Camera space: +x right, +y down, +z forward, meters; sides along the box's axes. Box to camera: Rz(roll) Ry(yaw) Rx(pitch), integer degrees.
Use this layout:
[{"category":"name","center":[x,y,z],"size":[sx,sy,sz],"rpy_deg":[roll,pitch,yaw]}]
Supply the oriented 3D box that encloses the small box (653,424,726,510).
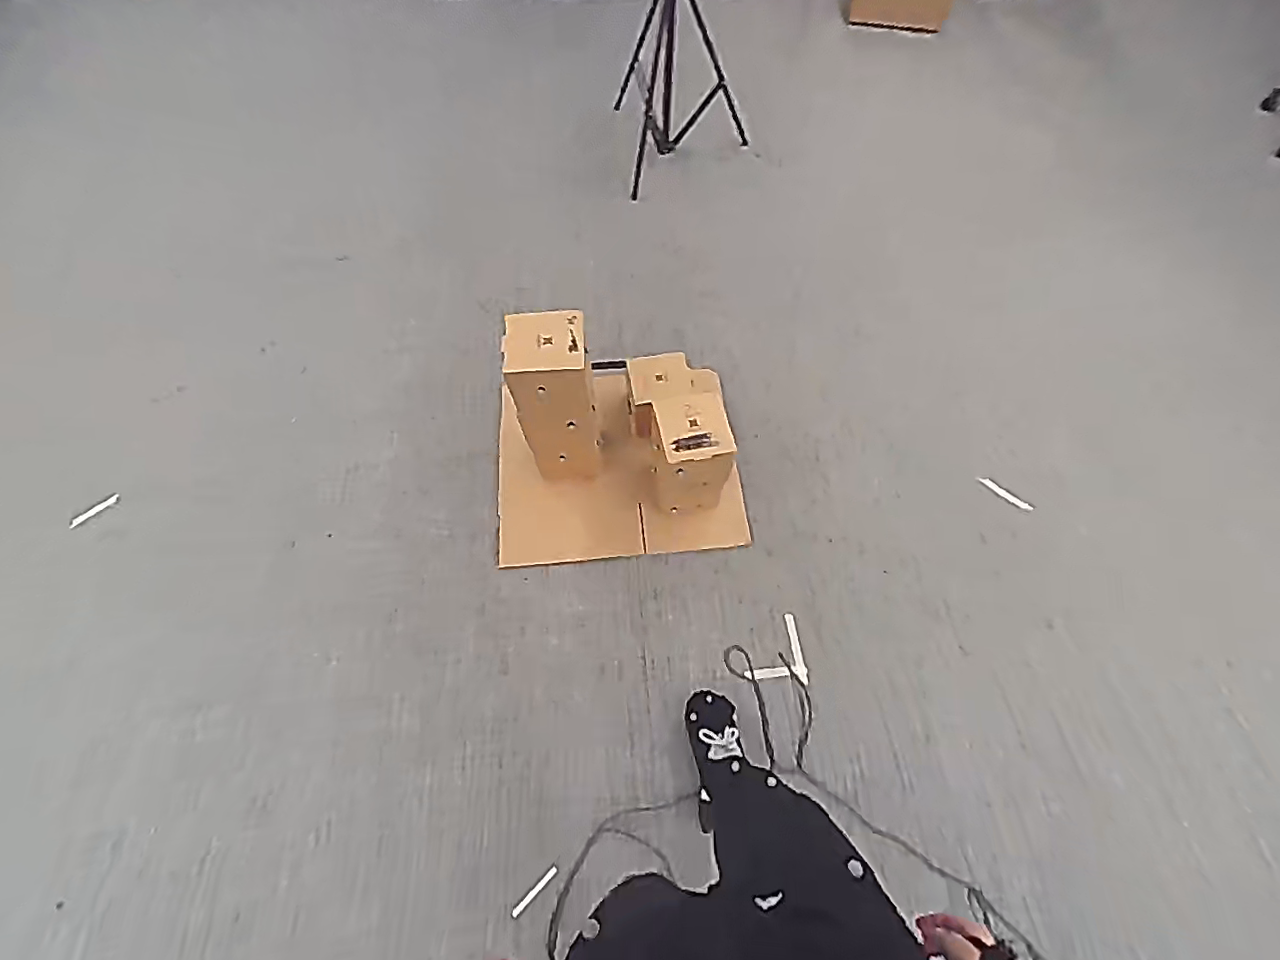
[{"category":"small box","center":[0.131,-0.028,1.488],"size":[0.168,0.176,0.179],"rpy_deg":[-8,64,-4]}]

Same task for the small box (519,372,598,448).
[{"category":"small box","center":[-0.201,-0.192,1.385],"size":[0.179,0.176,0.168],"rpy_deg":[-1,64,1]}]

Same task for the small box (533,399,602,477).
[{"category":"small box","center":[-0.198,-0.118,1.532],"size":[0.179,0.176,0.168],"rpy_deg":[-2,64,0]}]

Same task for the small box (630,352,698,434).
[{"category":"small box","center":[0.066,-0.255,1.602],"size":[0.179,0.176,0.168],"rpy_deg":[-9,63,-3]}]

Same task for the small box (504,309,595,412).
[{"category":"small box","center":[-0.201,-0.268,1.240],"size":[0.179,0.176,0.168],"rpy_deg":[-4,64,0]}]
